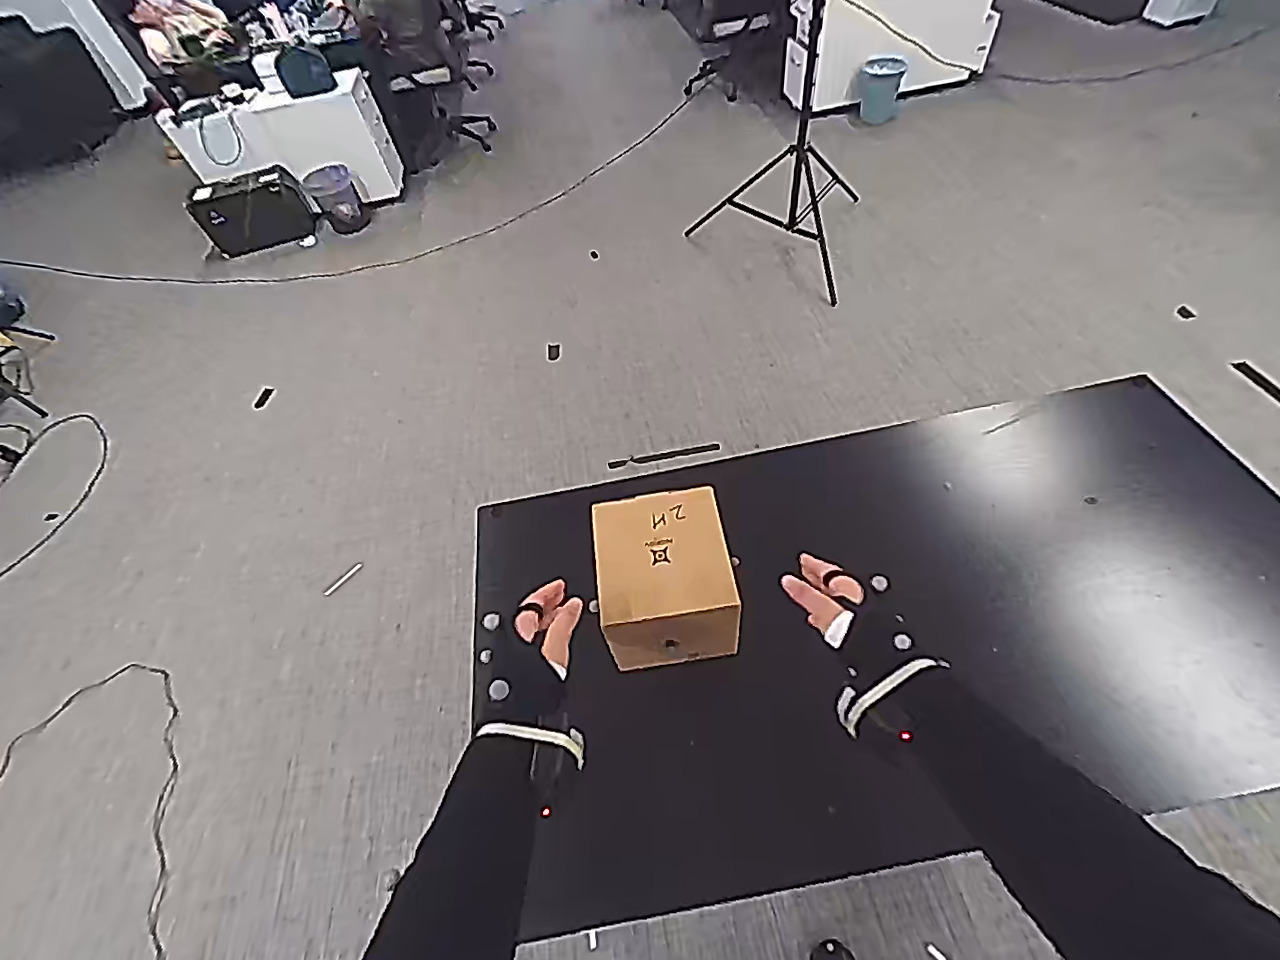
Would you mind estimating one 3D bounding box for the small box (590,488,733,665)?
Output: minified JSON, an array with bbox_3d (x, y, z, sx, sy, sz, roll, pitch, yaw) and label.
[{"bbox_3d":[0.031,0.140,0.741,0.168,0.176,0.179,-10,52,1],"label":"small box"}]
